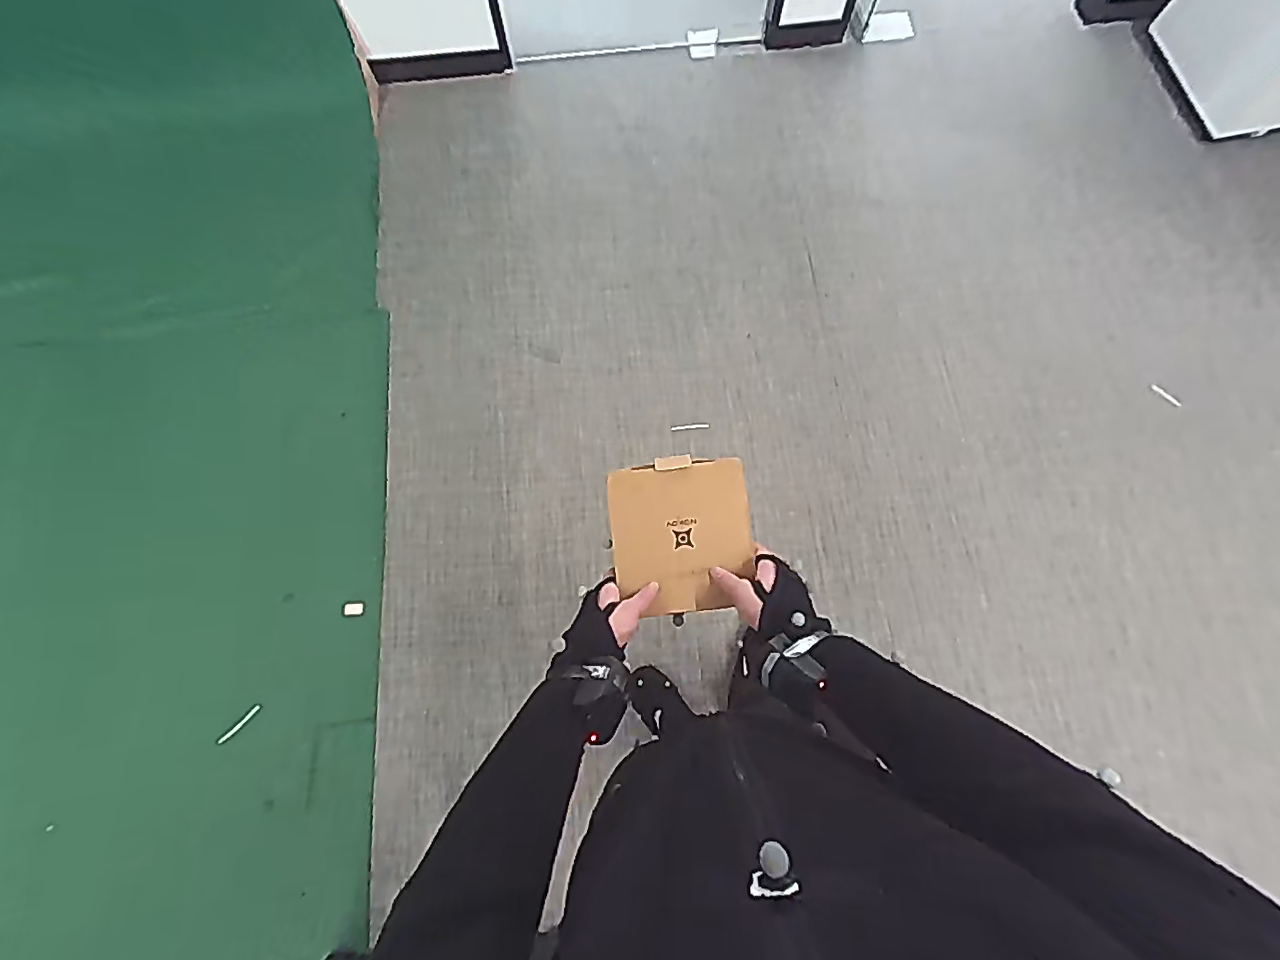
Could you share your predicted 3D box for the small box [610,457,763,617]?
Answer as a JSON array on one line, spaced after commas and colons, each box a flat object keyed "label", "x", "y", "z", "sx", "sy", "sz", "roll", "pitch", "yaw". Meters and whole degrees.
[{"label": "small box", "x": 0.052, "y": 0.081, "z": 0.689, "sx": 0.168, "sy": 0.176, "sz": 0.179, "roll": -4, "pitch": 77, "yaw": 2}]
